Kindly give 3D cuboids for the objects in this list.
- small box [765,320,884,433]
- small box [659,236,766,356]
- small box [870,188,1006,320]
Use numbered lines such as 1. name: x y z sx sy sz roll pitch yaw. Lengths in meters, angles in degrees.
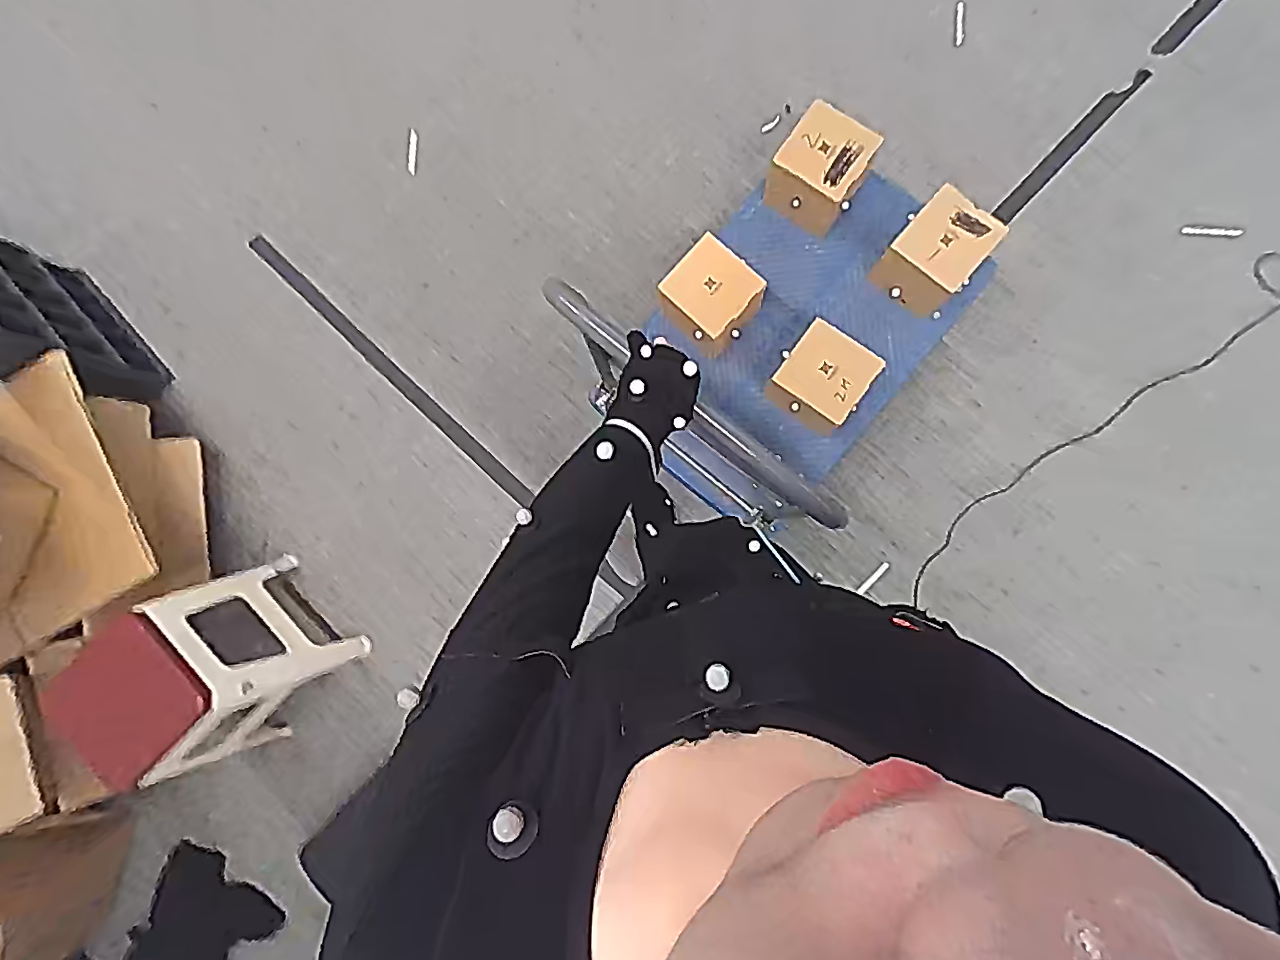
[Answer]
1. small box: 0.401 -0.221 1.215 0.179 0.176 0.168 37 91 6
2. small box: 0.161 -0.414 1.250 0.179 0.176 0.168 43 91 5
3. small box: 0.648 -0.493 1.204 0.168 0.176 0.179 42 93 6
